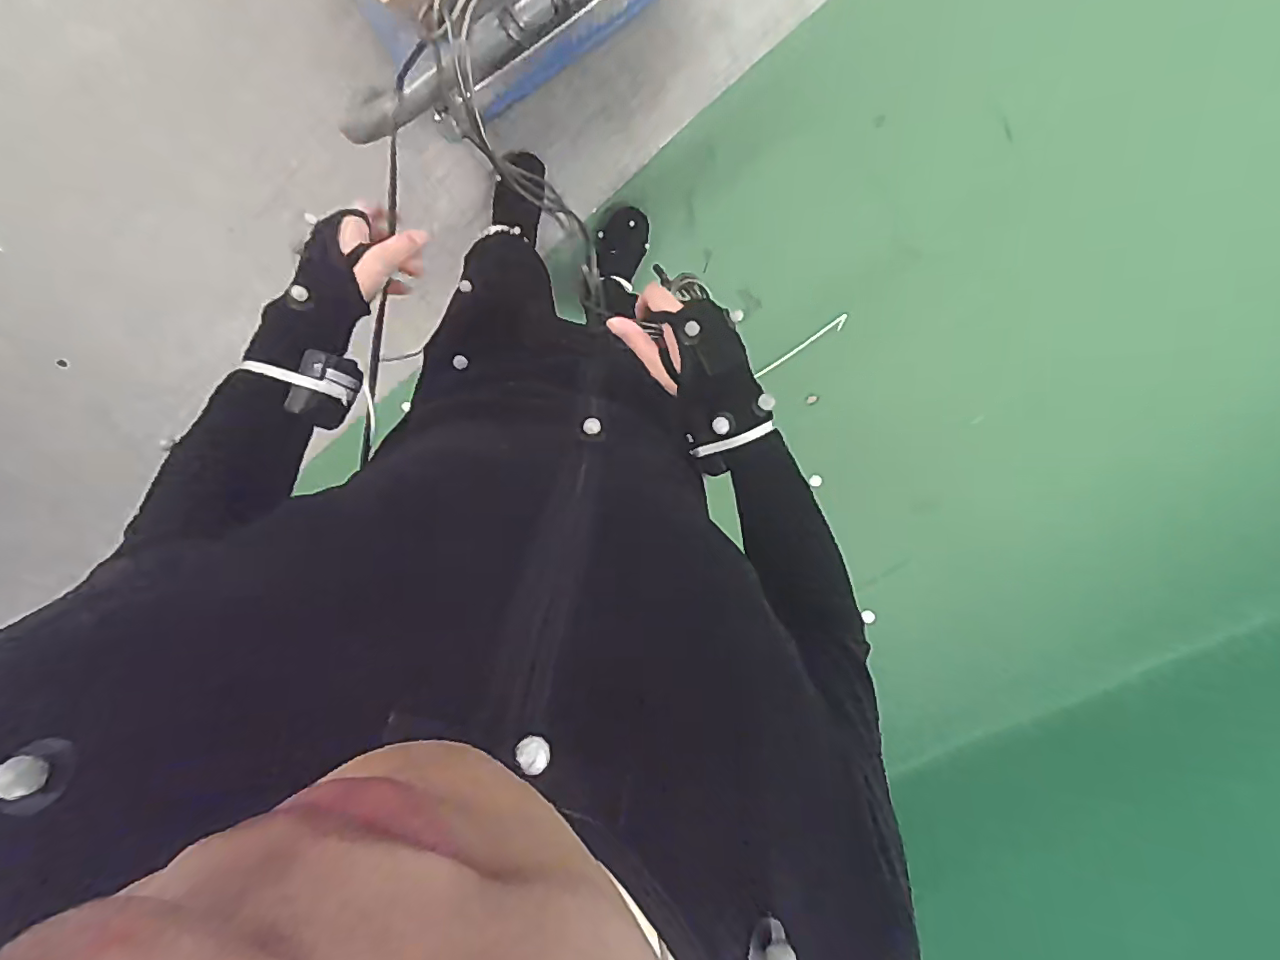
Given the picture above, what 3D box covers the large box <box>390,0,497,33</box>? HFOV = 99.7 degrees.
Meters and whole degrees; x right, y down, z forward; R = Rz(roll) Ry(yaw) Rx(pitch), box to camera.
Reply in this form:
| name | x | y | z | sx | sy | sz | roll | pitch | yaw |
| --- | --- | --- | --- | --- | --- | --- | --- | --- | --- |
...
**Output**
| name | x | y | z | sx | sy | sz | roll | pitch | yaw |
| --- | --- | --- | --- | --- | --- | --- | --- | --- | --- |
| large box | -0.312 | -0.961 | 0.762 | 0.320 | 0.320 | 0.408 | -23 | 121 | 12 |
